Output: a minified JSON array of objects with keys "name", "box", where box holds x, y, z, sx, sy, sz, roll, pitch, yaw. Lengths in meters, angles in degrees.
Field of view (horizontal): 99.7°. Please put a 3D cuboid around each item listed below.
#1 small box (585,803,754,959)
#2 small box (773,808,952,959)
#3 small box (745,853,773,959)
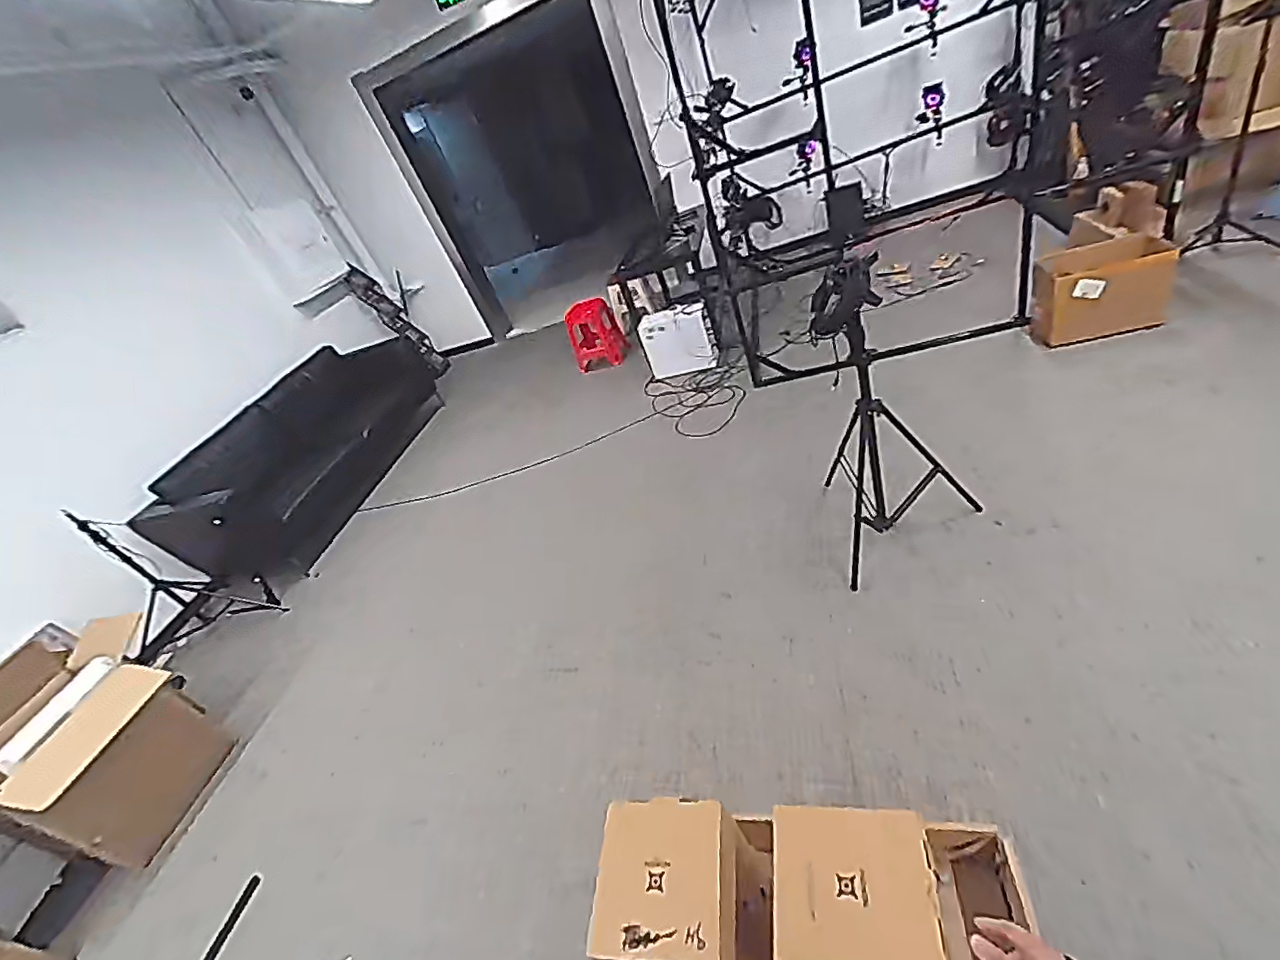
[{"name":"small box","box":[0.050,0.561,0.719,0.168,0.176,0.179,-13,34,19]},{"name":"small box","box":[0.266,0.519,0.646,0.179,0.176,0.168,-13,35,23]},{"name":"small box","box":[0.114,0.686,0.808,0.168,0.176,0.179,-12,36,19]}]
